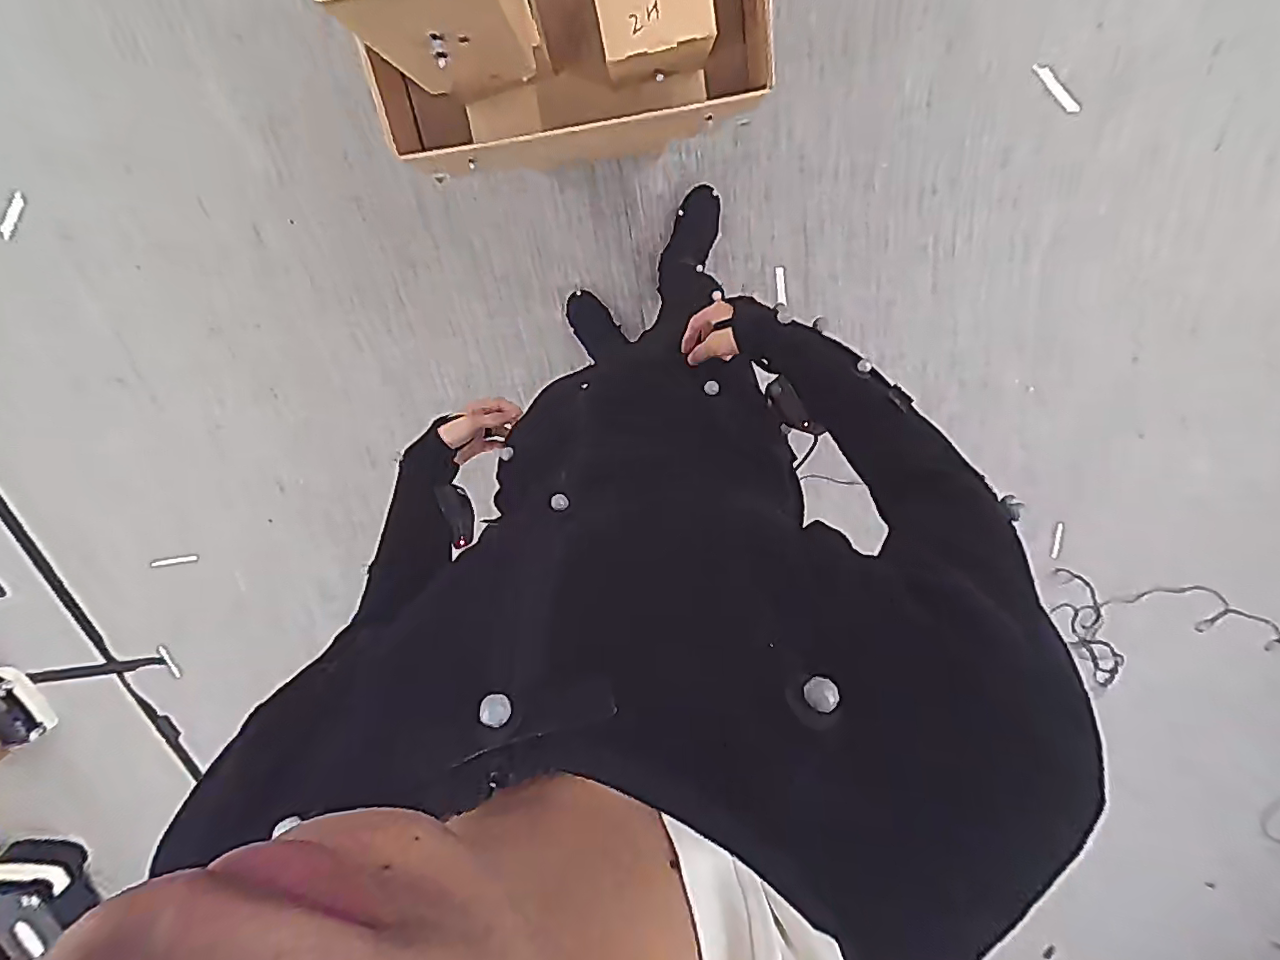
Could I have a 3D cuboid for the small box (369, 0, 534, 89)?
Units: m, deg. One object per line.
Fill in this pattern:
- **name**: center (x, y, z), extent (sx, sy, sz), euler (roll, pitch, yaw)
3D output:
- **small box**: center (-0.244, -0.636, 0.689), extent (0.168, 0.176, 0.179), euler (-8, 112, 3)
